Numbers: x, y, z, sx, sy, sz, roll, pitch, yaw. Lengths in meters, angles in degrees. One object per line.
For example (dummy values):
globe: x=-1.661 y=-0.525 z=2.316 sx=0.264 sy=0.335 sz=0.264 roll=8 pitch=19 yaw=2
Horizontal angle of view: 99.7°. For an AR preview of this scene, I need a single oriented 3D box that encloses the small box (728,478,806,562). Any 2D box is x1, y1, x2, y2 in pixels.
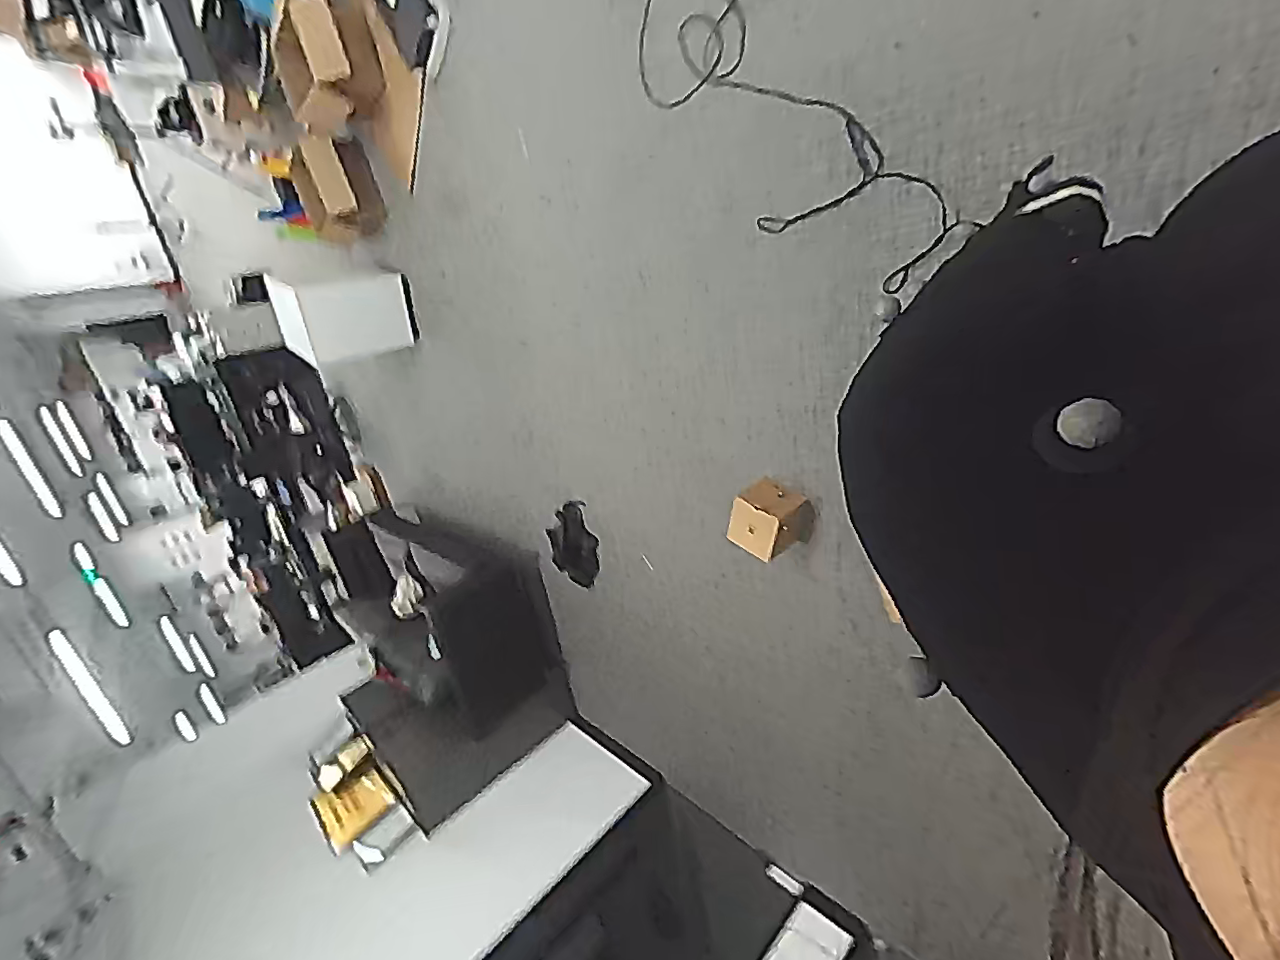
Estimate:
small box: x=0.405 y=0.123 z=1.719 sx=0.168 sy=0.176 sz=0.179 roll=32 pitch=132 yaw=35
